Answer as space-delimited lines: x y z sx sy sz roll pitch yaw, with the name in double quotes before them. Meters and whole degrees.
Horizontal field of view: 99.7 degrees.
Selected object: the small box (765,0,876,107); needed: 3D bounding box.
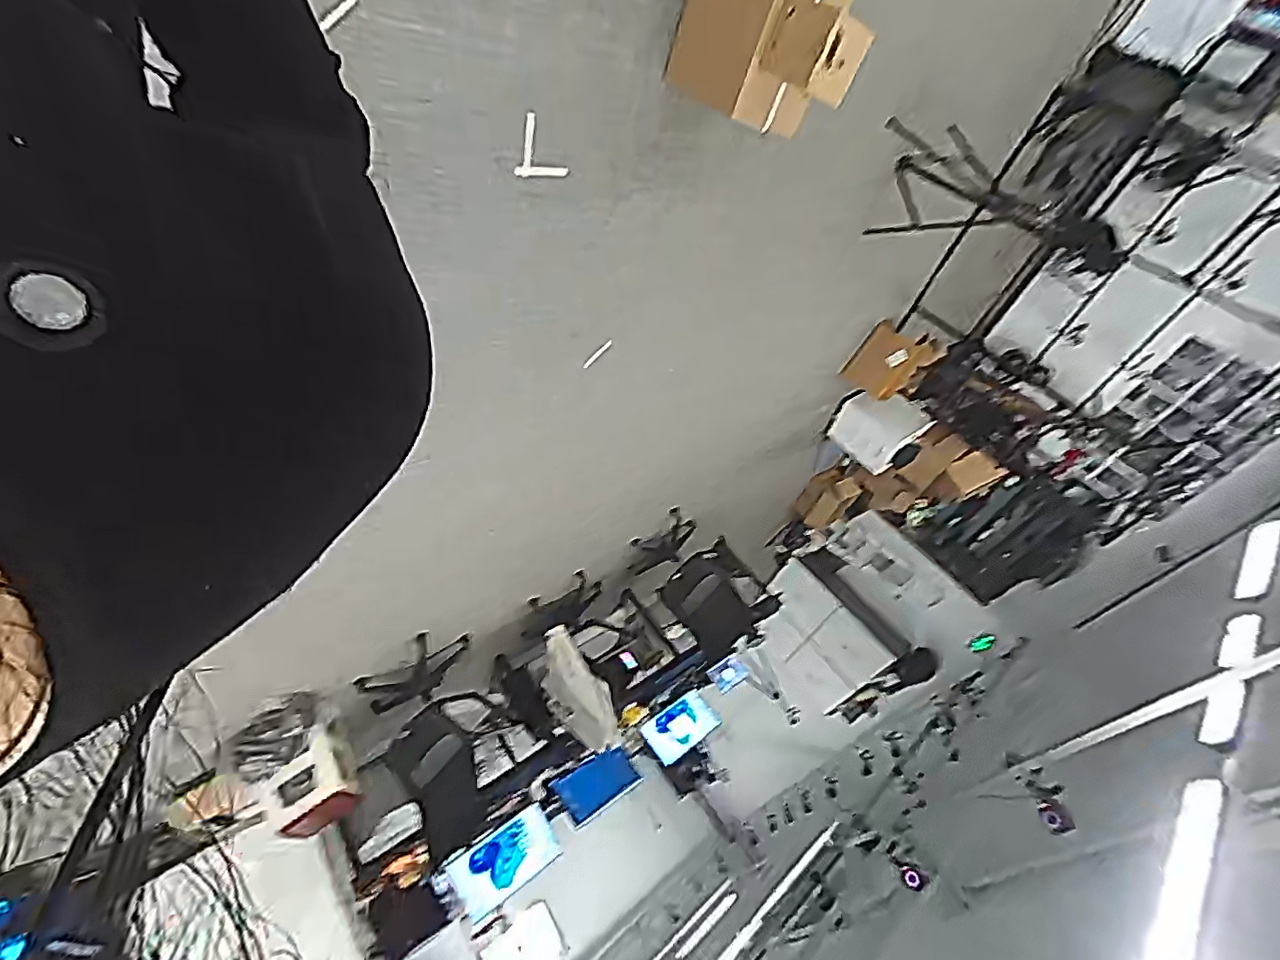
"small box" 0.451 -1.086 1.372 0.179 0.176 0.168 -16 143 -41
